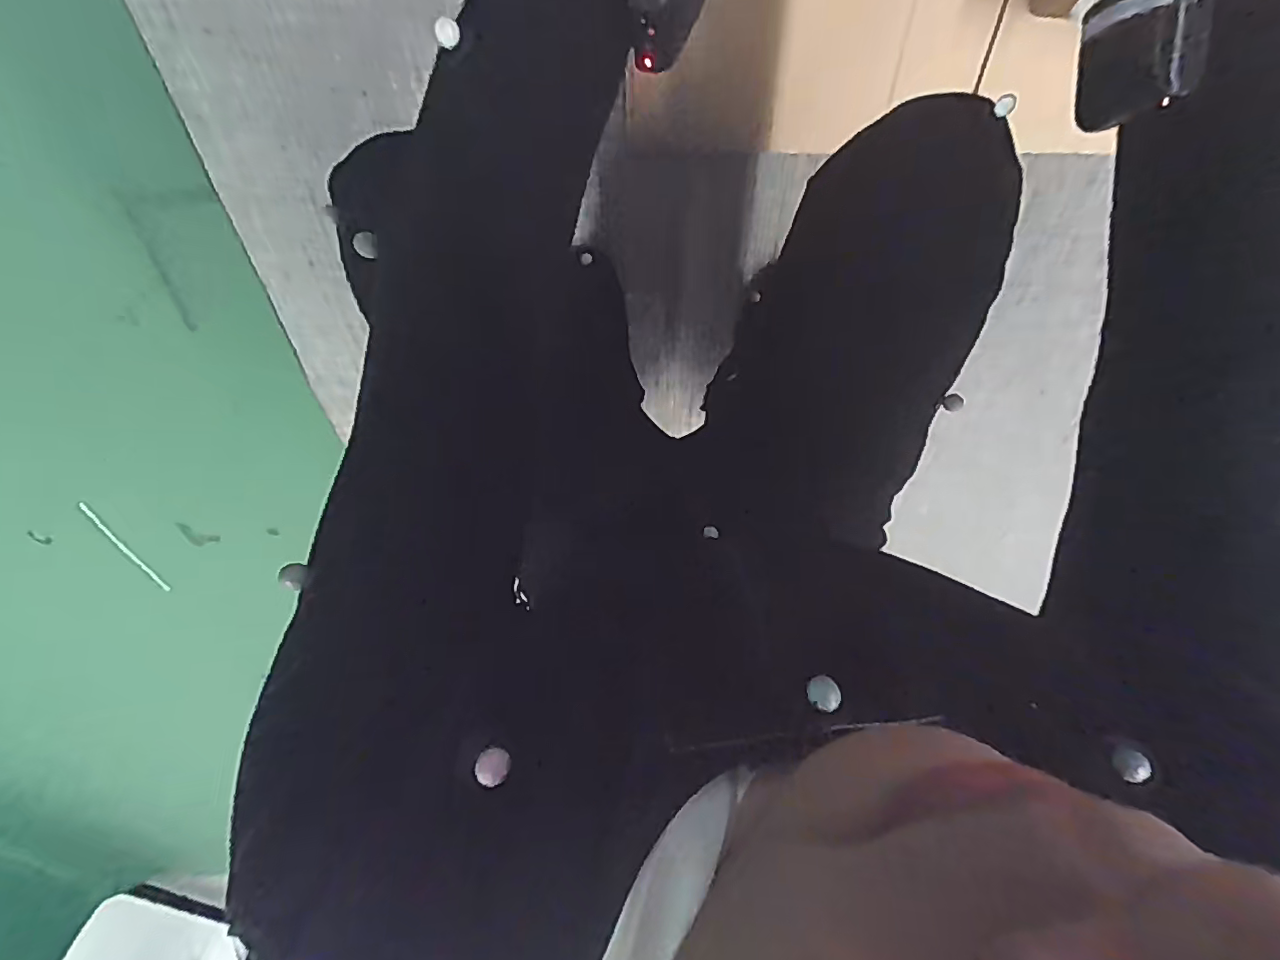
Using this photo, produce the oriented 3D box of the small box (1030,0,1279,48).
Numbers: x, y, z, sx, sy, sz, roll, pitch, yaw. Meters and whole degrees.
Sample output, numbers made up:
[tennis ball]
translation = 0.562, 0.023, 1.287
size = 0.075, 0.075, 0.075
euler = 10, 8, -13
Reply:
[small box]
translation = 0.500, -0.492, 0.470
size = 0.179, 0.176, 0.168
euler = 4, 132, 0
